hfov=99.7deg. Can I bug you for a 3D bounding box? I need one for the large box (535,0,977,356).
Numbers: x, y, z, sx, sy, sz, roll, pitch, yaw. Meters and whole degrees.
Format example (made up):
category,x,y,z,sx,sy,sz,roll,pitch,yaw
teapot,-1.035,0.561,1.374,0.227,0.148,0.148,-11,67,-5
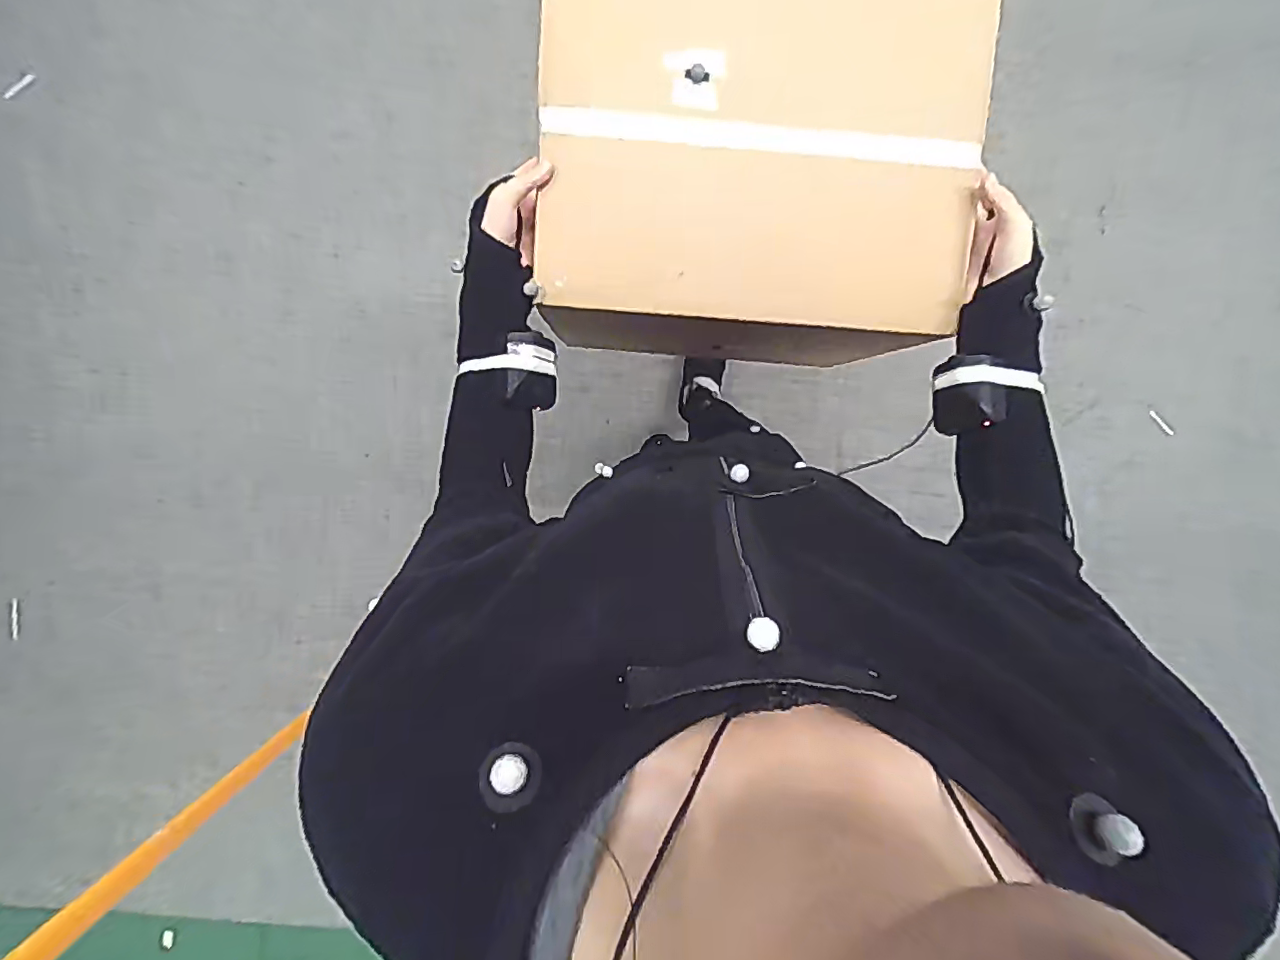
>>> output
category,x,y,z,sx,sy,sz,roll,pitch,yaw
large box,0.102,-0.327,0.650,0.408,0.320,0.320,3,95,-2
